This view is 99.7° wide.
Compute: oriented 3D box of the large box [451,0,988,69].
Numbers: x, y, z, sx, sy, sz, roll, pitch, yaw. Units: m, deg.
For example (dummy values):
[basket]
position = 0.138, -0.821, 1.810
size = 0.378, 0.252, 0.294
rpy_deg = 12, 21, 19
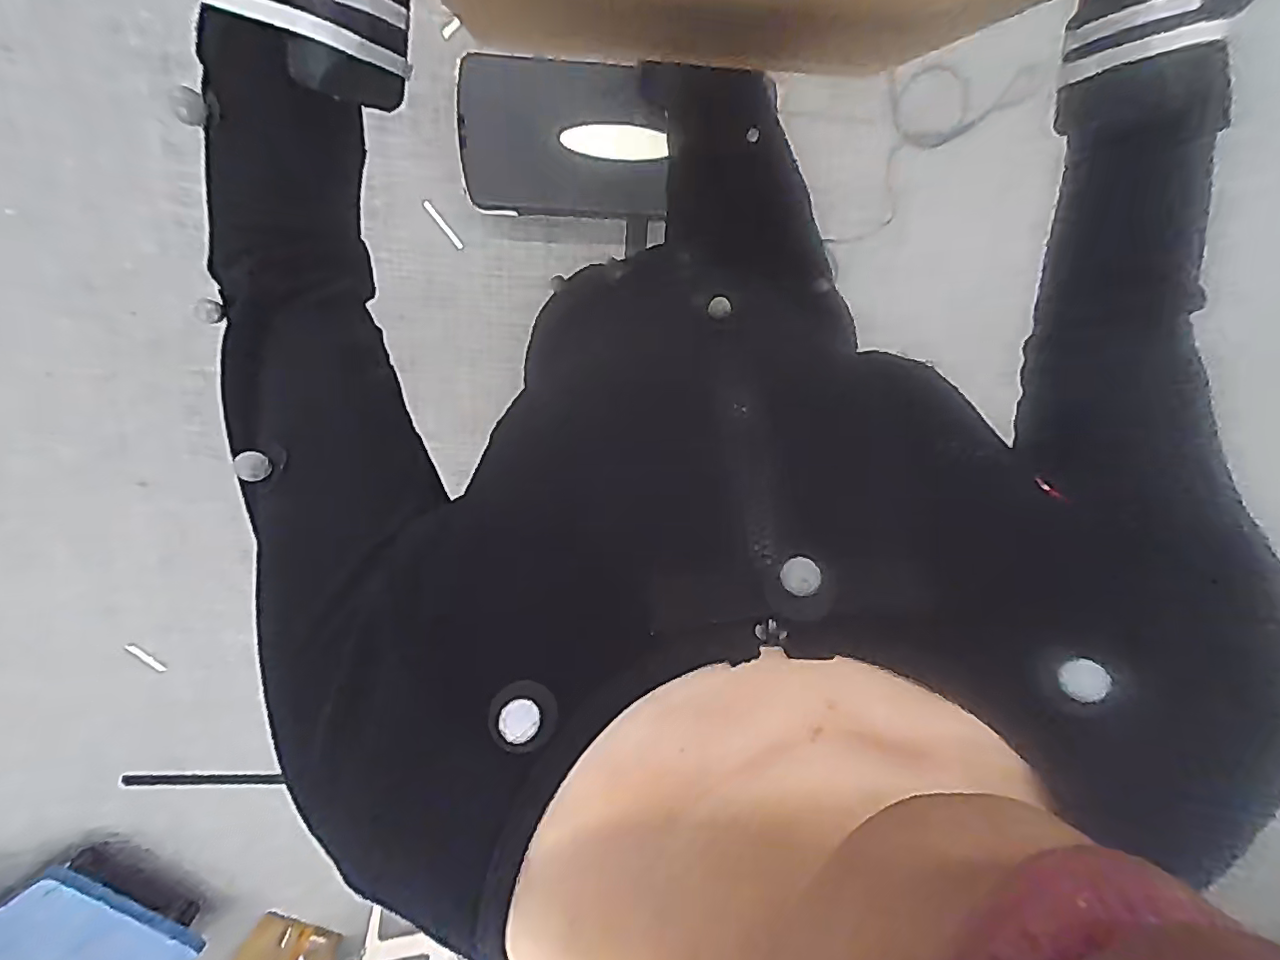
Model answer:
[large box]
position = 0.053, -0.495, 0.347
size = 0.408, 0.320, 0.320
rpy_deg = 1, 118, -5
